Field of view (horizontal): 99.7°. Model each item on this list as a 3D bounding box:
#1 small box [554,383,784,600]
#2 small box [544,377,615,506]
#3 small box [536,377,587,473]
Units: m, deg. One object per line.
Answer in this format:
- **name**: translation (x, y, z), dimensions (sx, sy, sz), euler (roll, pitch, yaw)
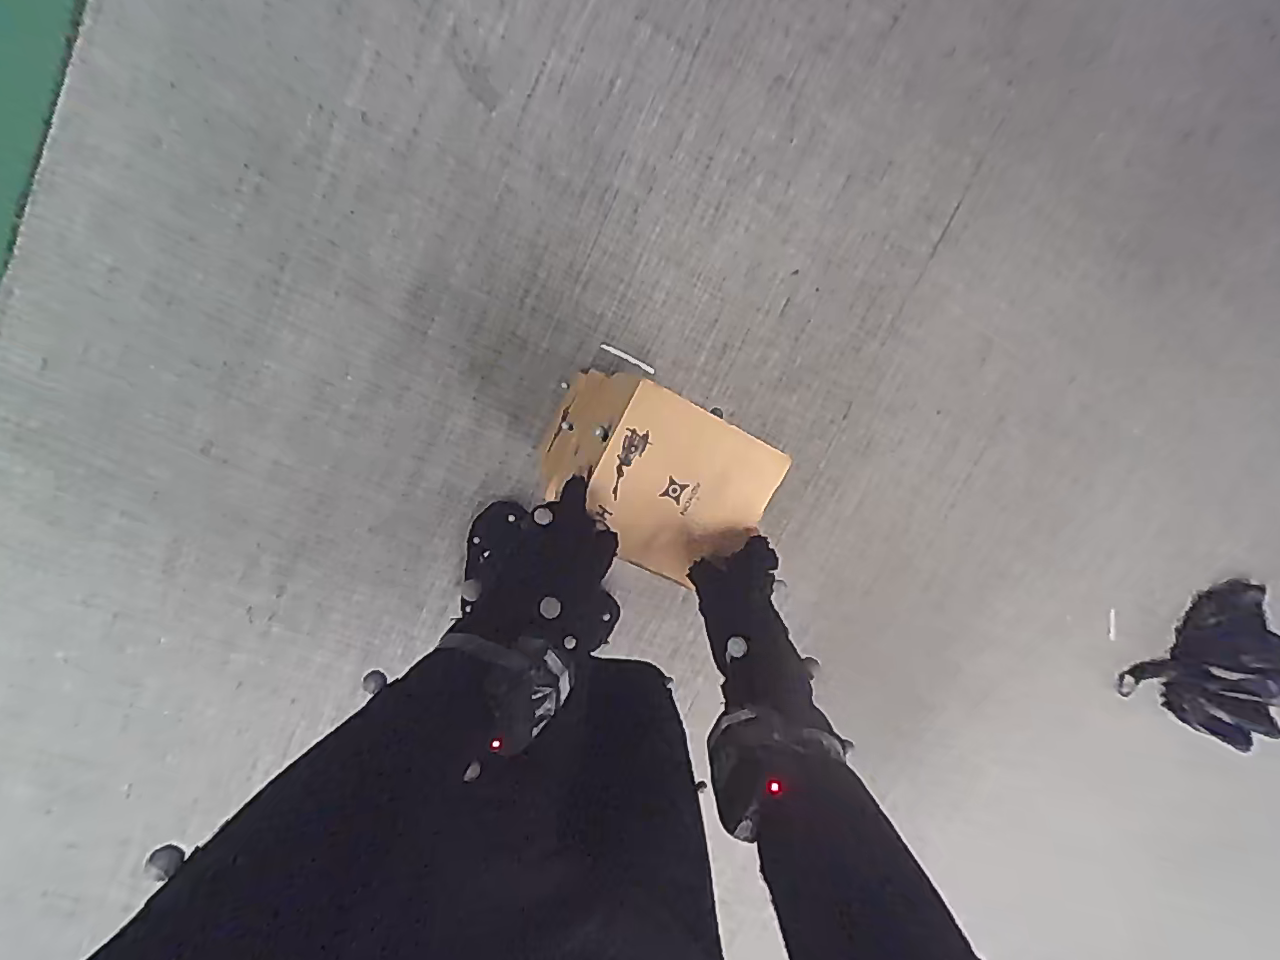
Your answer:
- **small box**: translation (0.019, 0.001, 0.603), dimensions (0.179, 0.176, 0.168), euler (27, 96, -16)
- **small box**: translation (-0.032, -0.037, 0.780), dimensions (0.168, 0.176, 0.179), euler (24, 99, -15)
- **small box**: translation (-0.071, -0.071, 0.951), dimensions (0.179, 0.176, 0.168), euler (25, 98, -16)
